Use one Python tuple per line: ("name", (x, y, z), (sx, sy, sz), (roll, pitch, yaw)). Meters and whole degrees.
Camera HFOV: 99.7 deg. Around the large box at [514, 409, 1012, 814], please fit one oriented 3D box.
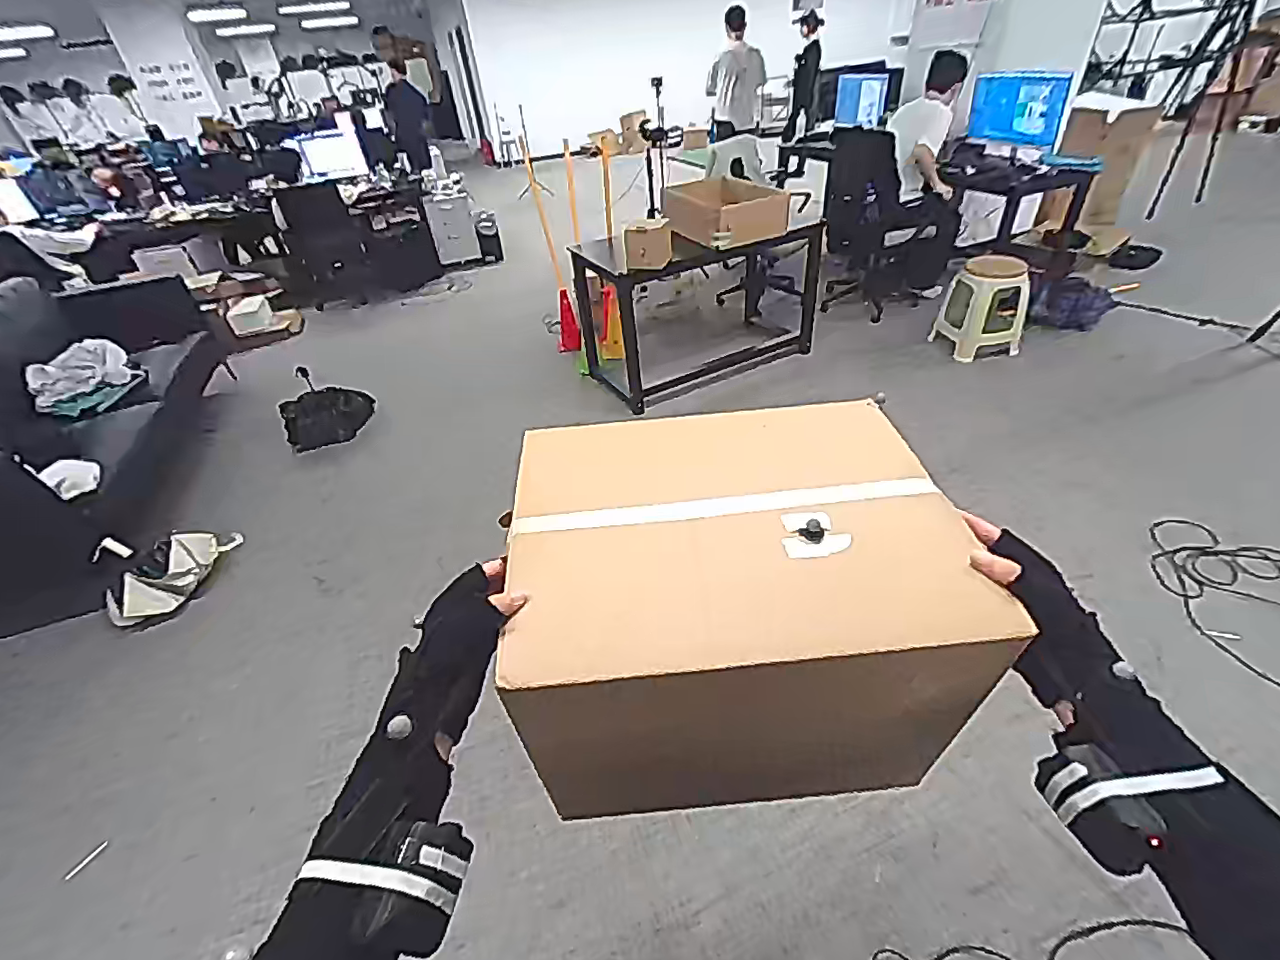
("large box", (0.091, 0.145, 0.625), (0.408, 0.320, 0.320), (-5, 43, -2))
